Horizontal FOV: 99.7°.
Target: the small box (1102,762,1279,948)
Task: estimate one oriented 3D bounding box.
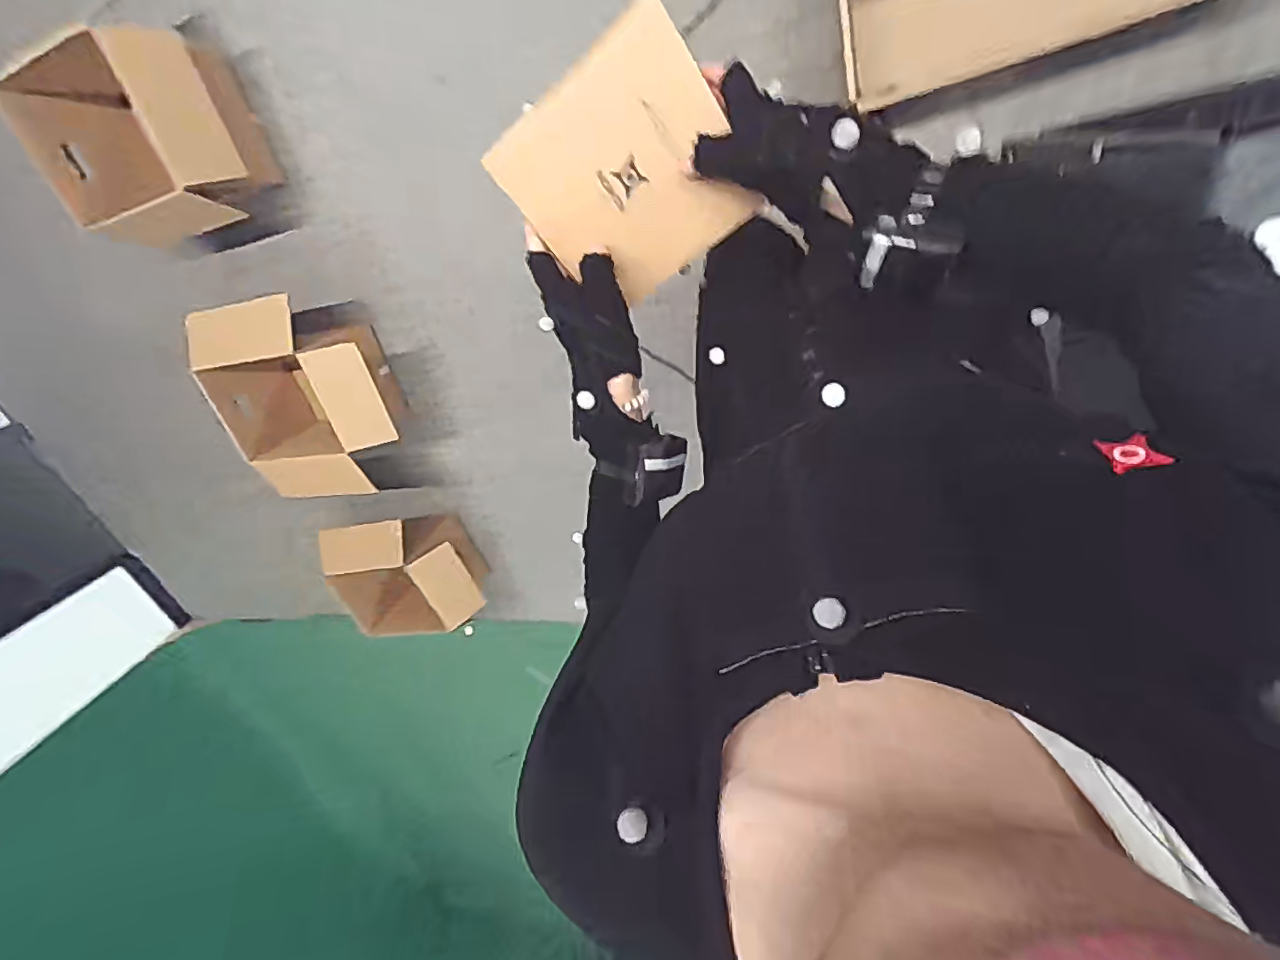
[{"bbox_3d":[0.851,0.552,0.810,0.179,0.176,0.168,-2,121,17],"label":"small box"}]
